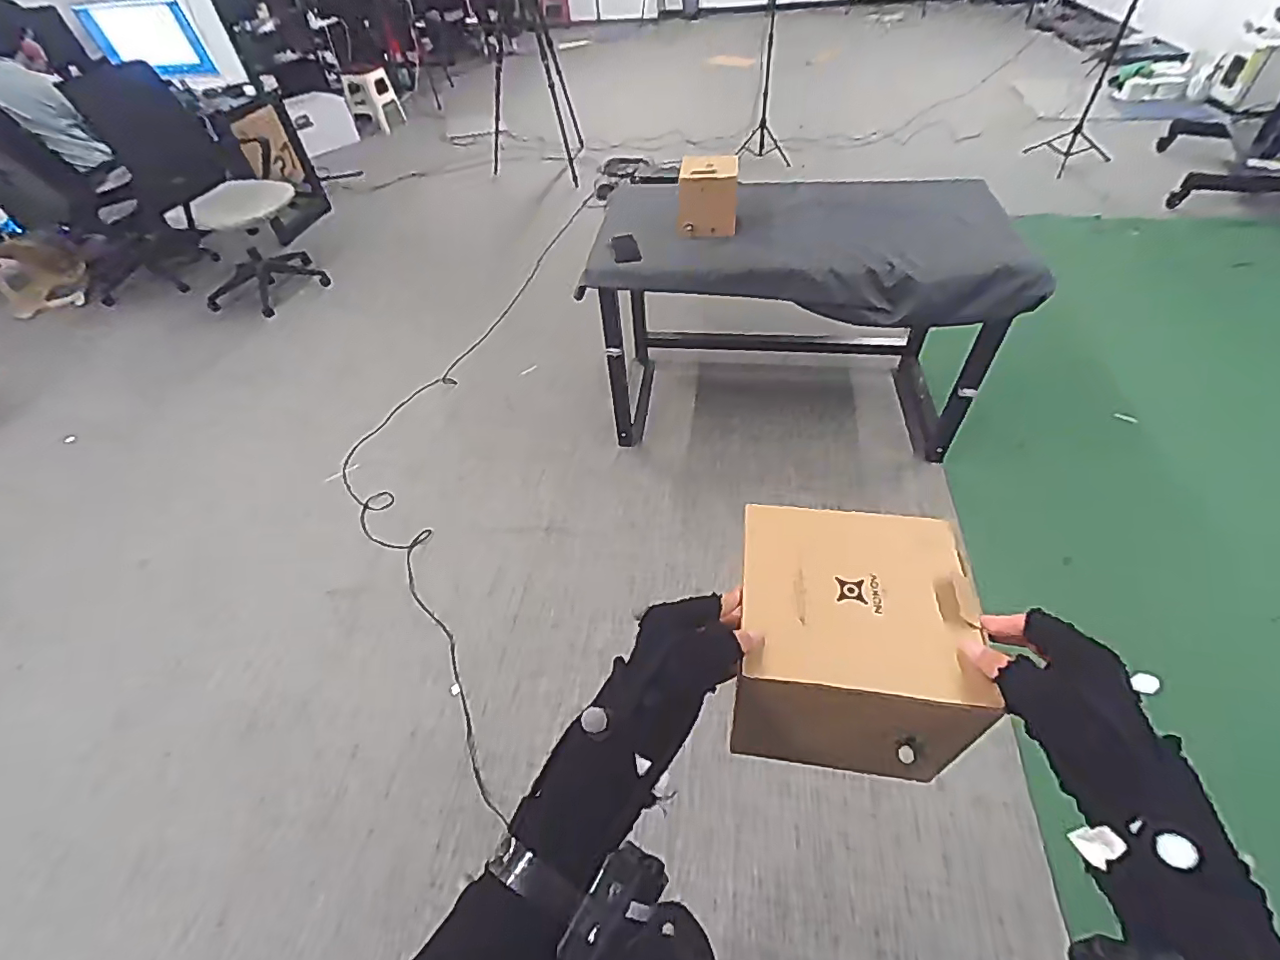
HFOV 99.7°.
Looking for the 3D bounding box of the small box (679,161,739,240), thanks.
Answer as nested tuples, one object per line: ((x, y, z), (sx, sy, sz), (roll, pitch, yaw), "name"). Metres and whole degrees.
((0.209, -0.840, 1.628), (0.168, 0.176, 0.179), (3, 47, 7), "small box")
